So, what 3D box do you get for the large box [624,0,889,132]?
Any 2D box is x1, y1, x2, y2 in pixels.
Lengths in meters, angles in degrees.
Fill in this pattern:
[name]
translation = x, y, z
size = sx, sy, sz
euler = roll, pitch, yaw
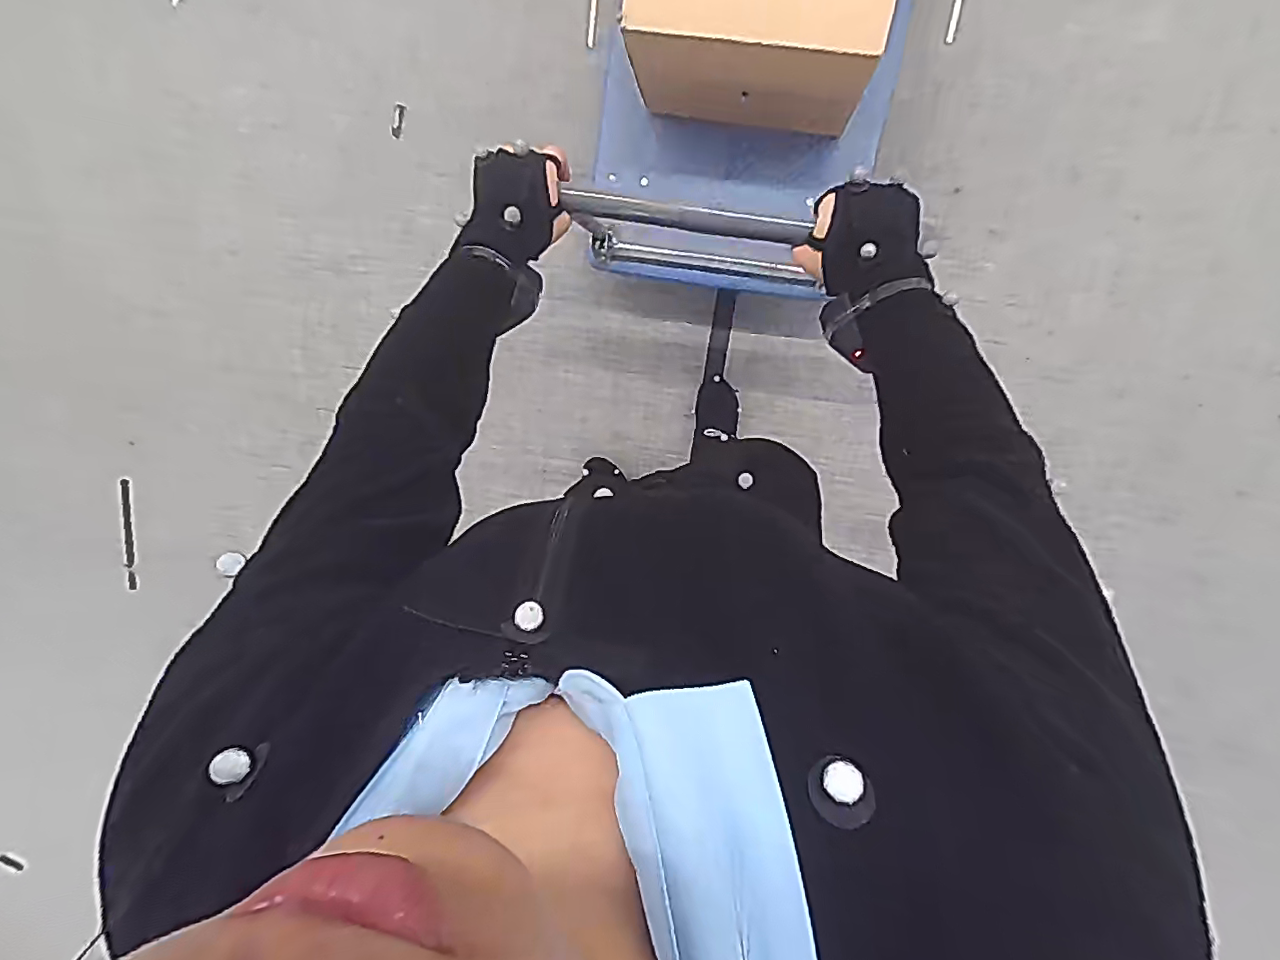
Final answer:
[large box]
translation = 0.213, -0.852, 0.952
size = 0.408, 0.320, 0.320
euler = 11, 104, 7
